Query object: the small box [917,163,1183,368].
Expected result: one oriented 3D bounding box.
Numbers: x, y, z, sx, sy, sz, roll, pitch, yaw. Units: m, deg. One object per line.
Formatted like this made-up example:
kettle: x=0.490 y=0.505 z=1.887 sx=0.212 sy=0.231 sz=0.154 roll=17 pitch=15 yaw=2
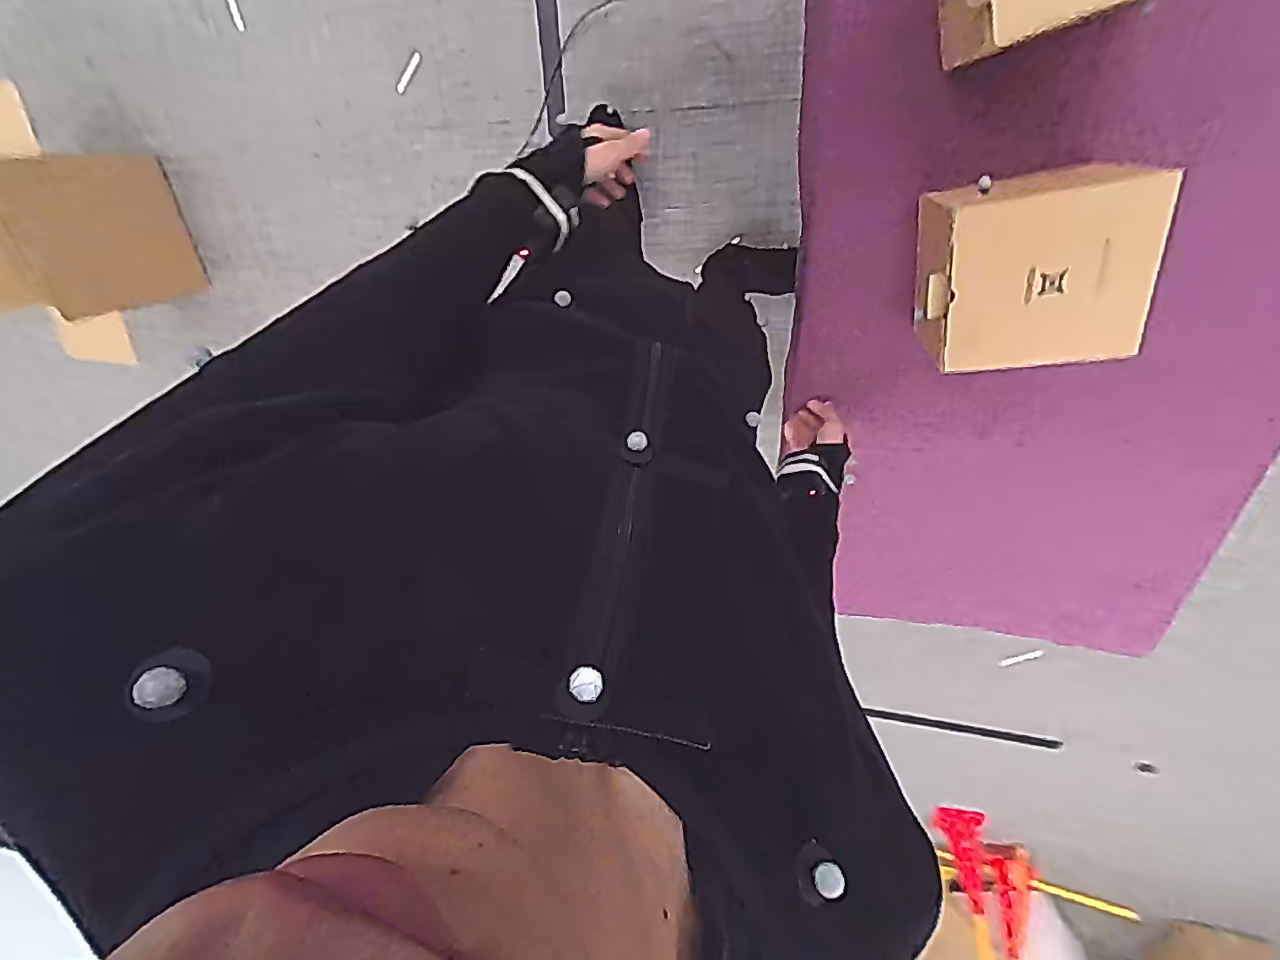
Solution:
small box: x=0.412 y=-0.234 z=0.587 sx=0.179 sy=0.176 sz=0.168 roll=-3 pitch=121 yaw=17
